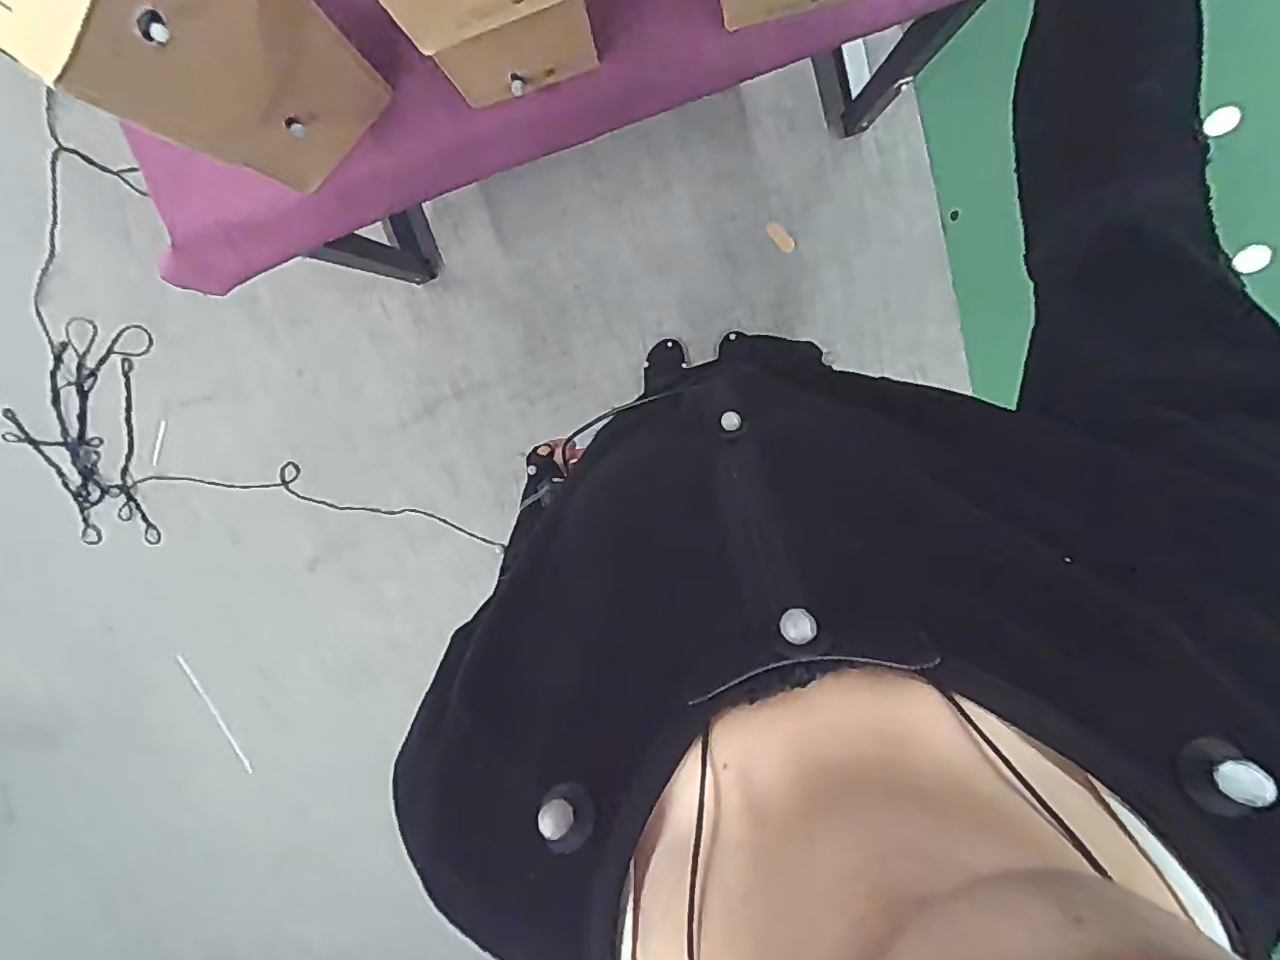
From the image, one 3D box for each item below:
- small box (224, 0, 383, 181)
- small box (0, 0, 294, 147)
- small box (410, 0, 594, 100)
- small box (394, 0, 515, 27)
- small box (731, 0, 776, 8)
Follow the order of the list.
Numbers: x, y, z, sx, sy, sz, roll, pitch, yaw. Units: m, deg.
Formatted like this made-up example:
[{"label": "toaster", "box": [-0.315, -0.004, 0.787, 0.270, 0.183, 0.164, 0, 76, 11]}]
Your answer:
[{"label": "small box", "box": [-0.425, -0.469, 0.591, 0.179, 0.176, 0.168, -41, 99, 11]}, {"label": "small box", "box": [-0.429, -0.416, 0.434, 0.168, 0.176, 0.179, 35, 101, -6]}, {"label": "small box", "box": [-0.157, -0.547, 0.563, 0.168, 0.176, 0.179, -15, 102, 7]}, {"label": "small box", "box": [-0.158, -0.495, 0.408, 0.168, 0.176, 0.179, -16, 101, 7]}, {"label": "small box", "box": [0.159, -0.615, 0.531, 0.168, 0.176, 0.179, -12, 104, 5]}]
